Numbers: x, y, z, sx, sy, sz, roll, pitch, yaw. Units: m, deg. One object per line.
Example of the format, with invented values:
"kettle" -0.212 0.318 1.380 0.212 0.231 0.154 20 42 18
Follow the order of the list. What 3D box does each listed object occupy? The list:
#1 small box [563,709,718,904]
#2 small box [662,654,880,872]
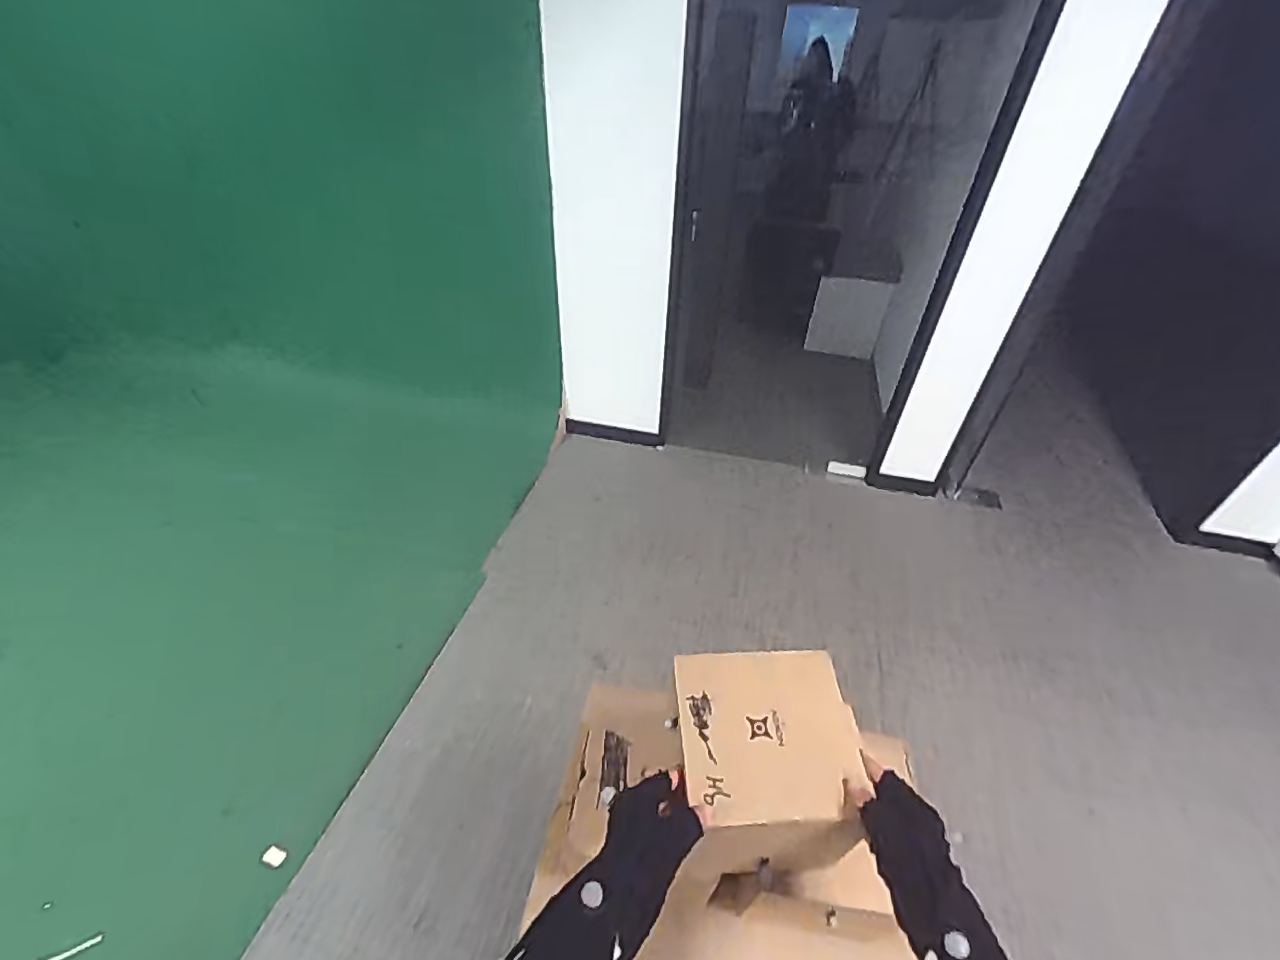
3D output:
"small box" 0.010 0.425 0.703 0.179 0.176 0.168 8 44 5
"small box" 0.122 0.308 0.588 0.179 0.176 0.168 0 42 -4
